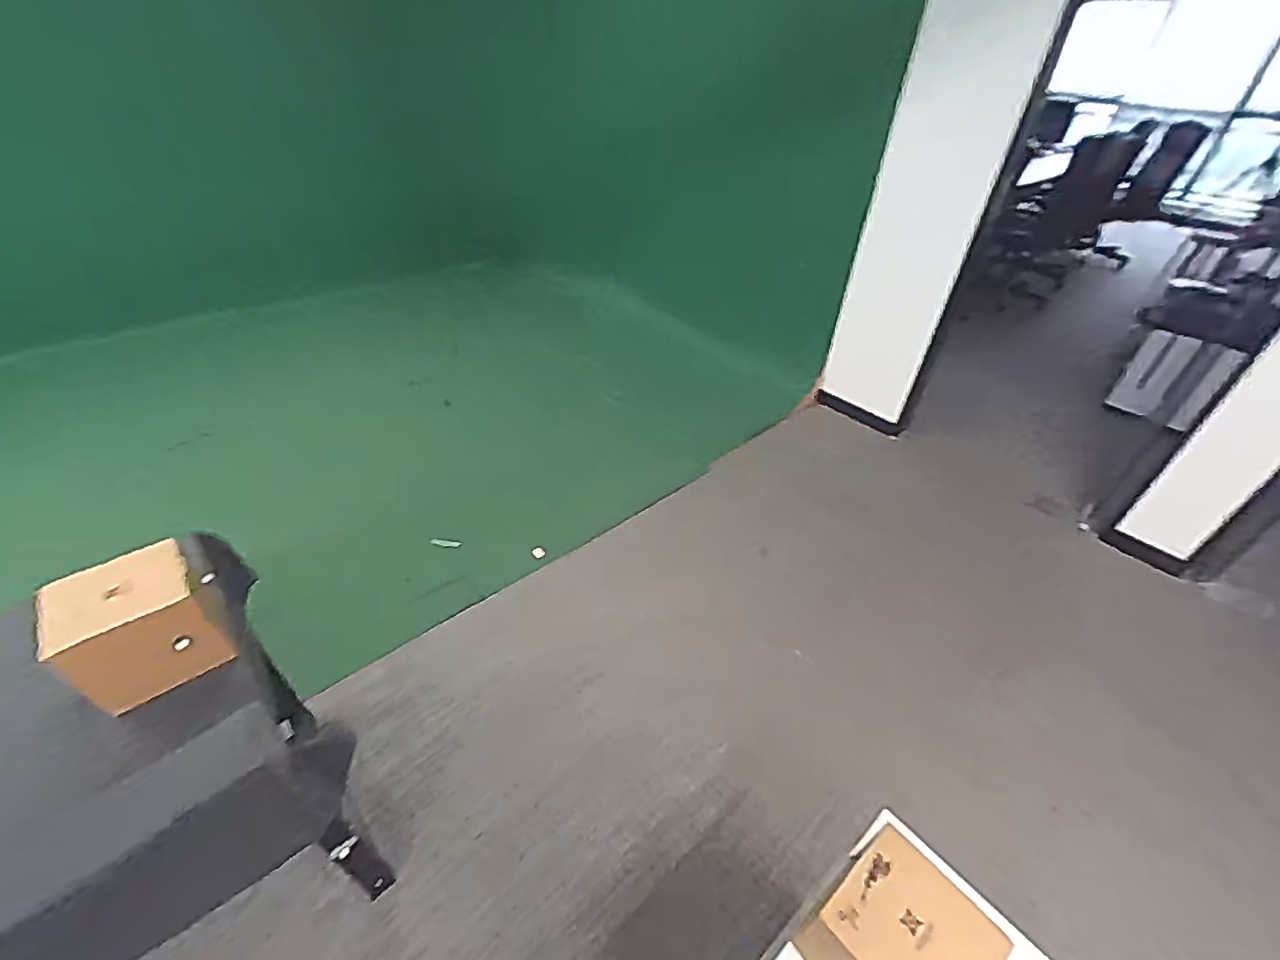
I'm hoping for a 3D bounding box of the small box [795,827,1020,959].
[{"bbox_3d":[0.333,0.606,0.703,0.168,0.176,0.179,-27,50,-30],"label":"small box"}]

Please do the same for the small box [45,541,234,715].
[{"bbox_3d":[-0.802,0.238,0.882,0.179,0.176,0.168,-29,48,-30],"label":"small box"}]
